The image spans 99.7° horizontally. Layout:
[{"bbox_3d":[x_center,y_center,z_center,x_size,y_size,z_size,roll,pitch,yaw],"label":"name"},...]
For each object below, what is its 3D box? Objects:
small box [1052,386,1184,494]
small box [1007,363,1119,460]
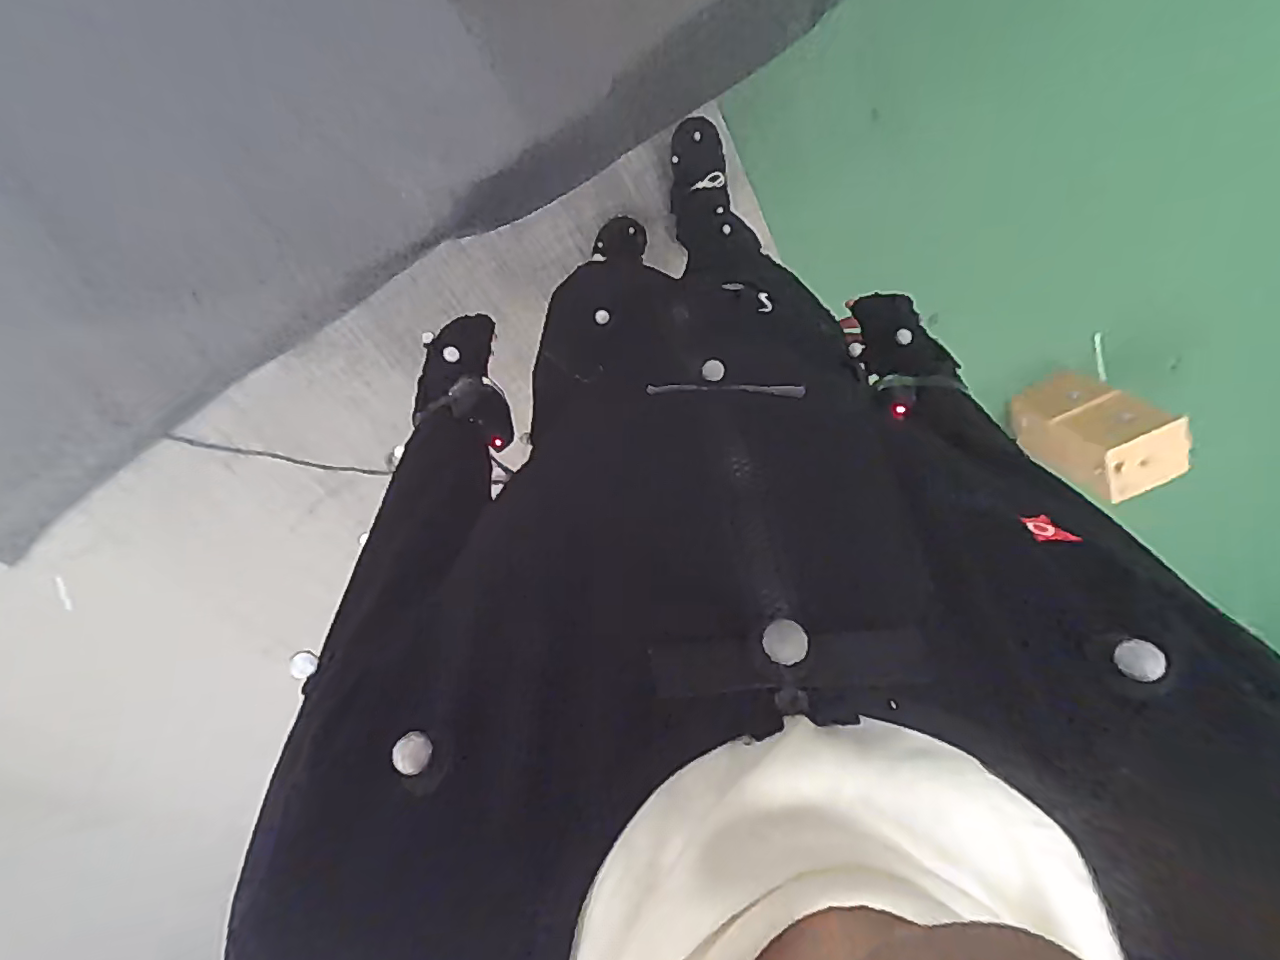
[{"bbox_3d":[1.158,-0.103,1.316,0.179,0.176,0.168,-28,118,11],"label":"small box"},{"bbox_3d":[1.139,-0.189,1.455,0.179,0.176,0.168,-27,118,13],"label":"small box"}]
